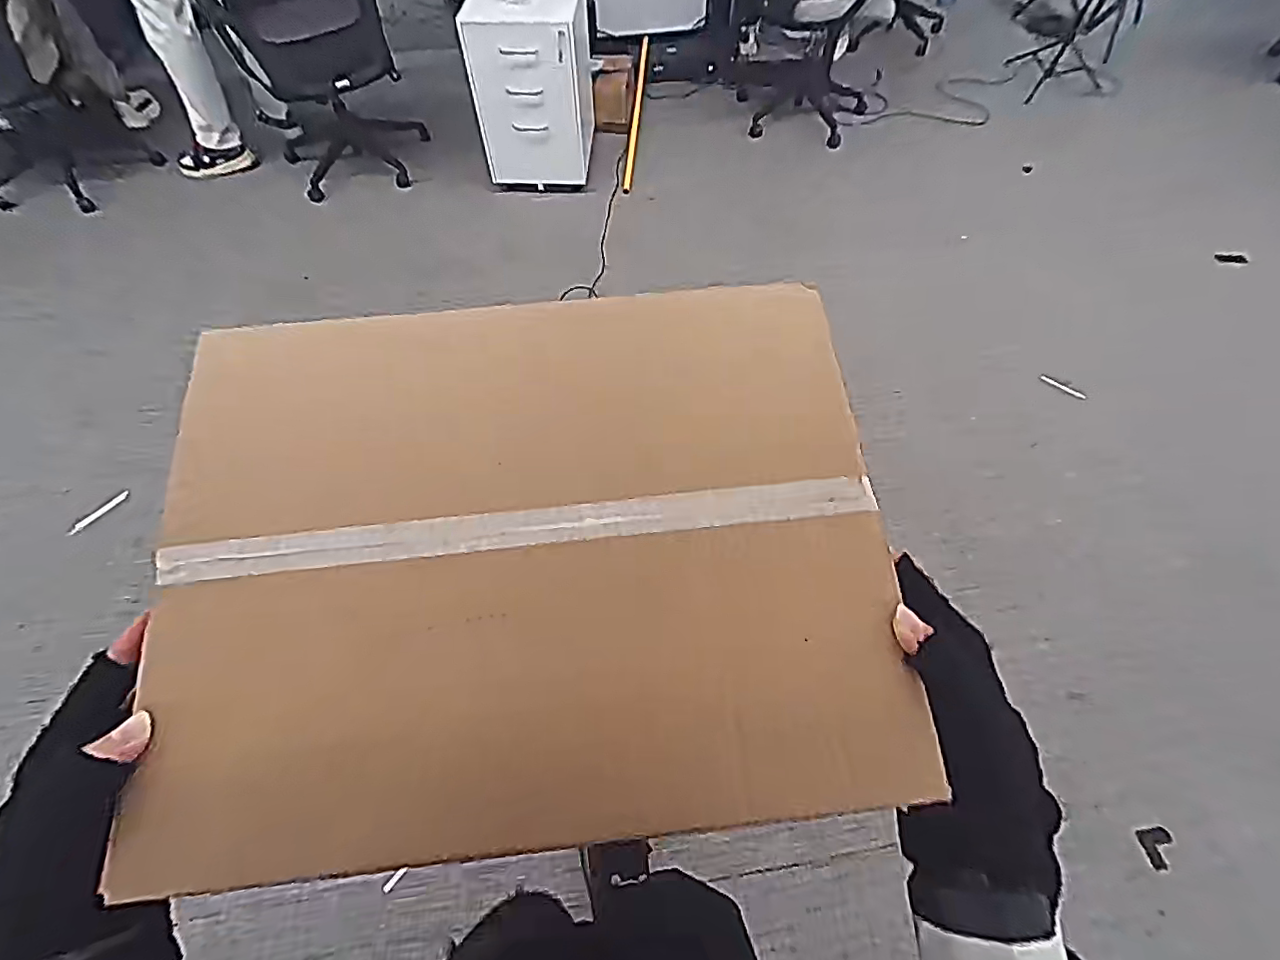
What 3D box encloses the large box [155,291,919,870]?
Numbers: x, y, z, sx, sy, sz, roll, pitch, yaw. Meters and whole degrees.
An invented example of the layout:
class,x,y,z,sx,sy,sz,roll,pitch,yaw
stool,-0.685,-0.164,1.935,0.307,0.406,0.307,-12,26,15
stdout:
class,x,y,z,sx,sy,sz,roll,pitch,yaw
large box,-0.066,0.079,0.467,0.408,0.320,0.320,-6,71,-3
